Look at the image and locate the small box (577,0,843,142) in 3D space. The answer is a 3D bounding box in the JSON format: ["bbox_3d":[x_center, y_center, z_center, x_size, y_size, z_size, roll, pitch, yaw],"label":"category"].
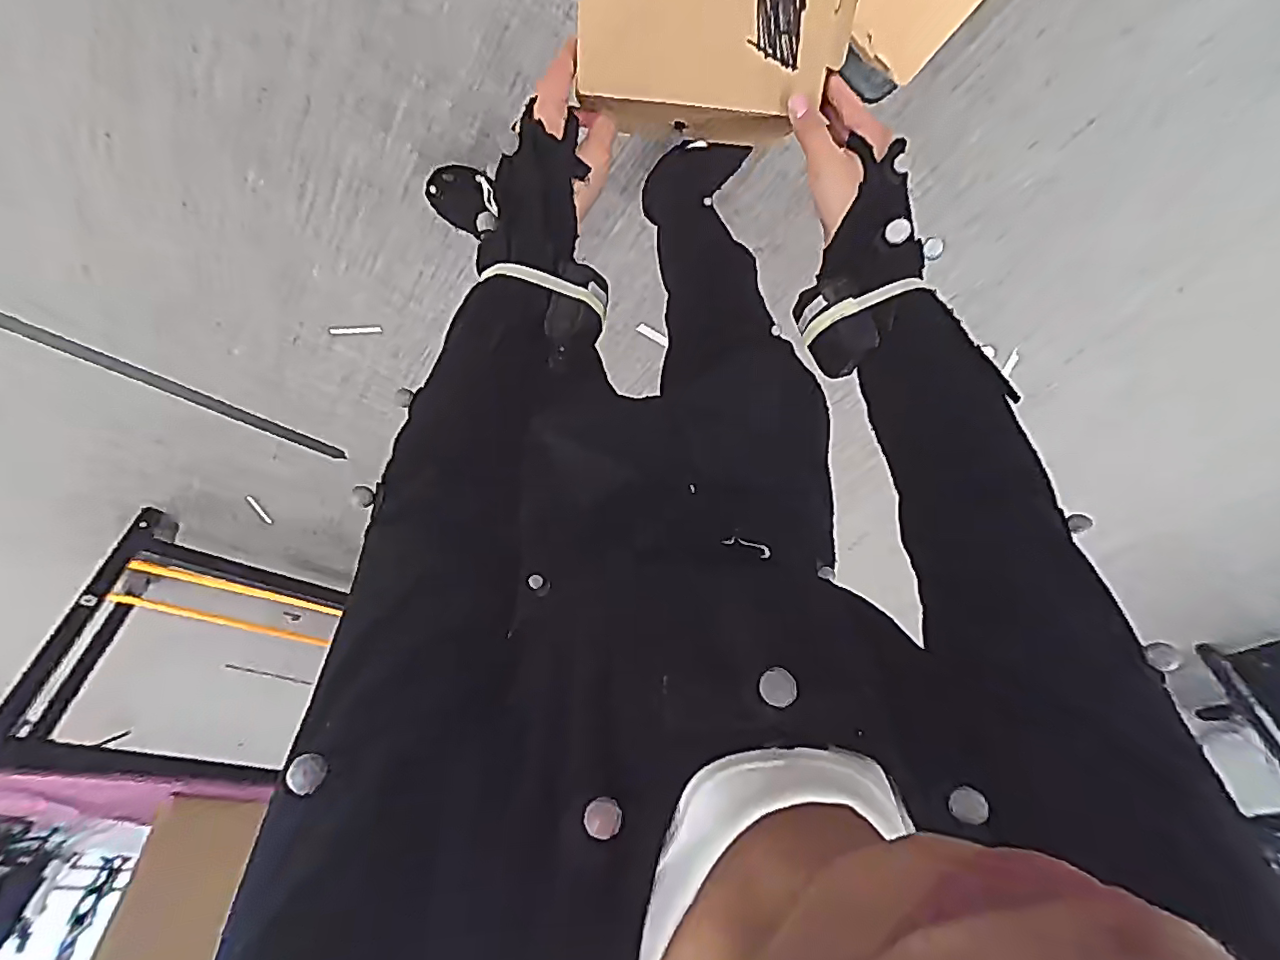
[{"bbox_3d":[0.047,-0.370,0.414,0.179,0.176,0.168,4,115,-3],"label":"small box"}]

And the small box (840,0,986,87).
[{"bbox_3d":[0.324,-0.640,0.658,0.168,0.176,0.179,24,133,-26],"label":"small box"}]
